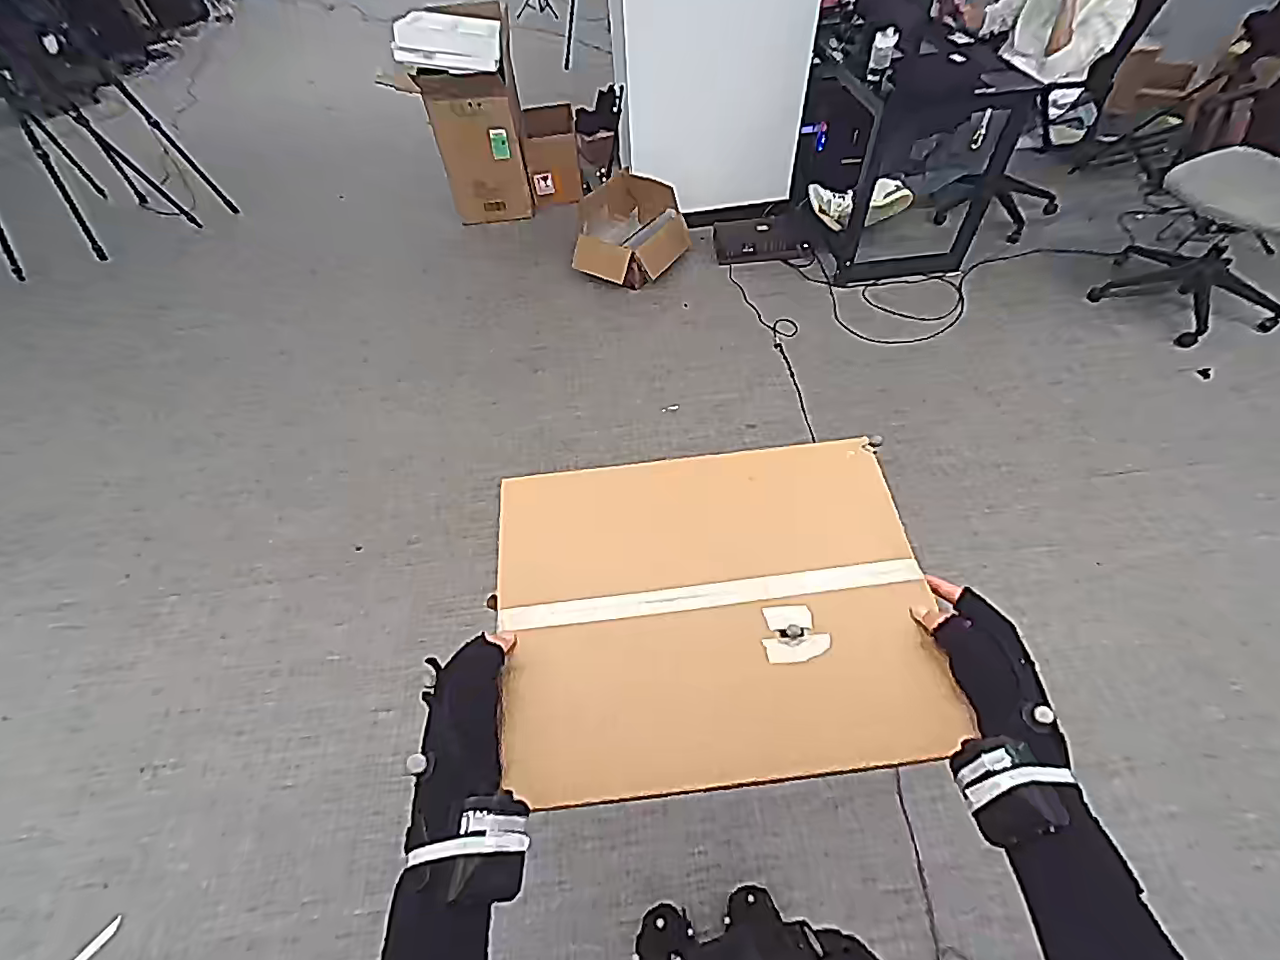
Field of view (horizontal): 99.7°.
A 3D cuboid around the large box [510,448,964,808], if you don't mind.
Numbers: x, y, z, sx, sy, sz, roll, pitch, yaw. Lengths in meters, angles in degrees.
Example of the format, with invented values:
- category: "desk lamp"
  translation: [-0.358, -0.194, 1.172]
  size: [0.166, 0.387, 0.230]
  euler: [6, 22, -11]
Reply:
- category: "large box"
  translation: [0.073, 0.194, 0.665]
  size: [0.408, 0.320, 0.320]
  euler: [-7, 61, -2]
